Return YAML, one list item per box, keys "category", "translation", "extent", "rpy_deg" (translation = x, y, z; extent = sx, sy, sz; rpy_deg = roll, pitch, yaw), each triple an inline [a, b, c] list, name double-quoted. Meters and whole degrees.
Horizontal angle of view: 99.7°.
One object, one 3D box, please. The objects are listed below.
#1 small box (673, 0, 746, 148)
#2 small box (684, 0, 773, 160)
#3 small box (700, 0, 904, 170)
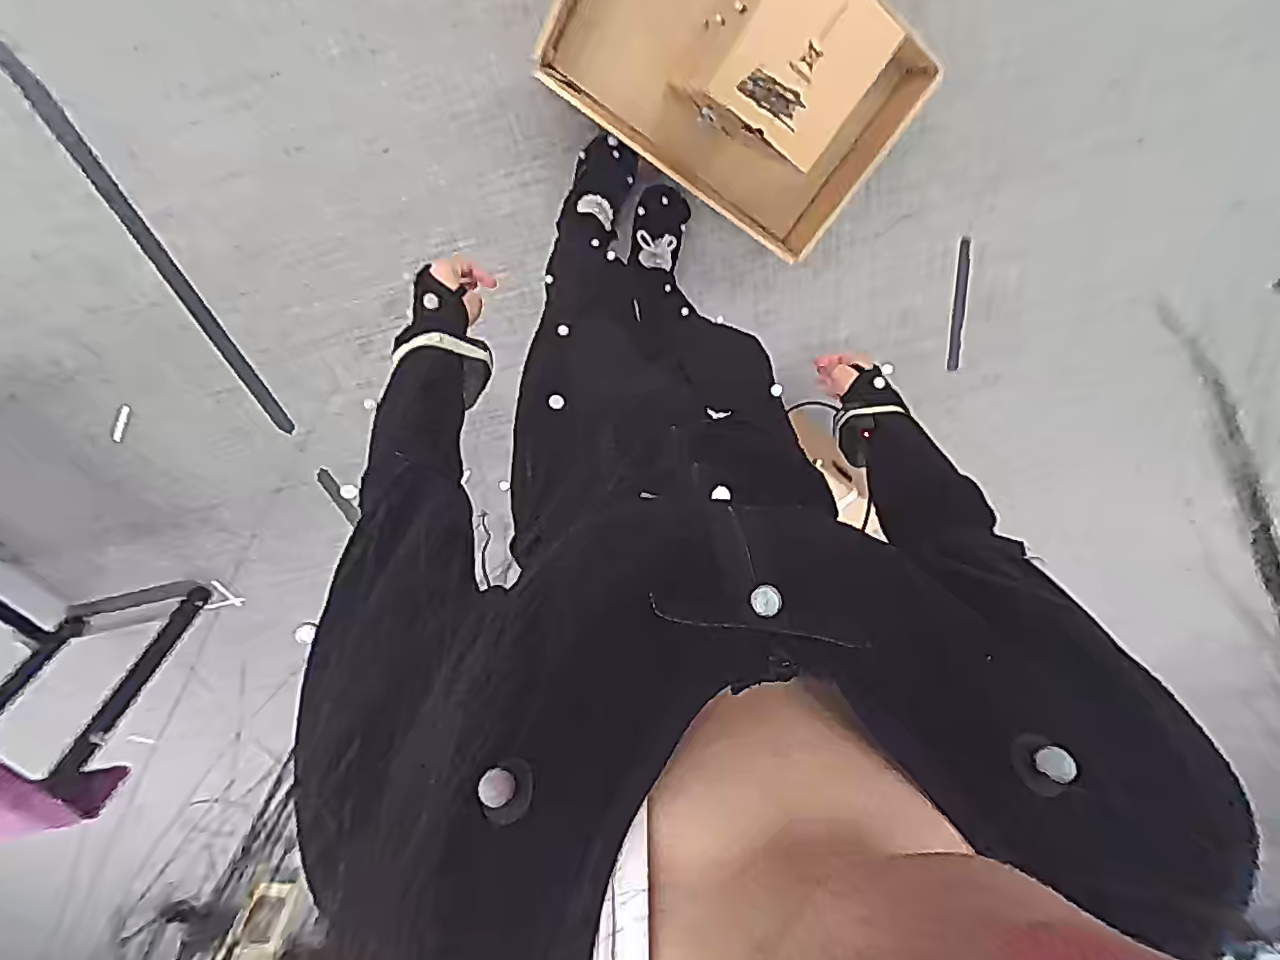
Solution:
- category: "small box"
  translation: [0.173, -0.739, 0.967]
  extent: [0.168, 0.176, 0.179]
  rpy_deg: [29, 120, -23]
- category: "small box"
  translation: [0.183, -0.641, 0.838]
  extent: [0.168, 0.176, 0.179]
  rpy_deg: [28, 121, -22]
- category: "small box"
  translation: [0.193, -0.546, 0.705]
  extent: [0.168, 0.176, 0.179]
  rpy_deg: [27, 120, -22]
